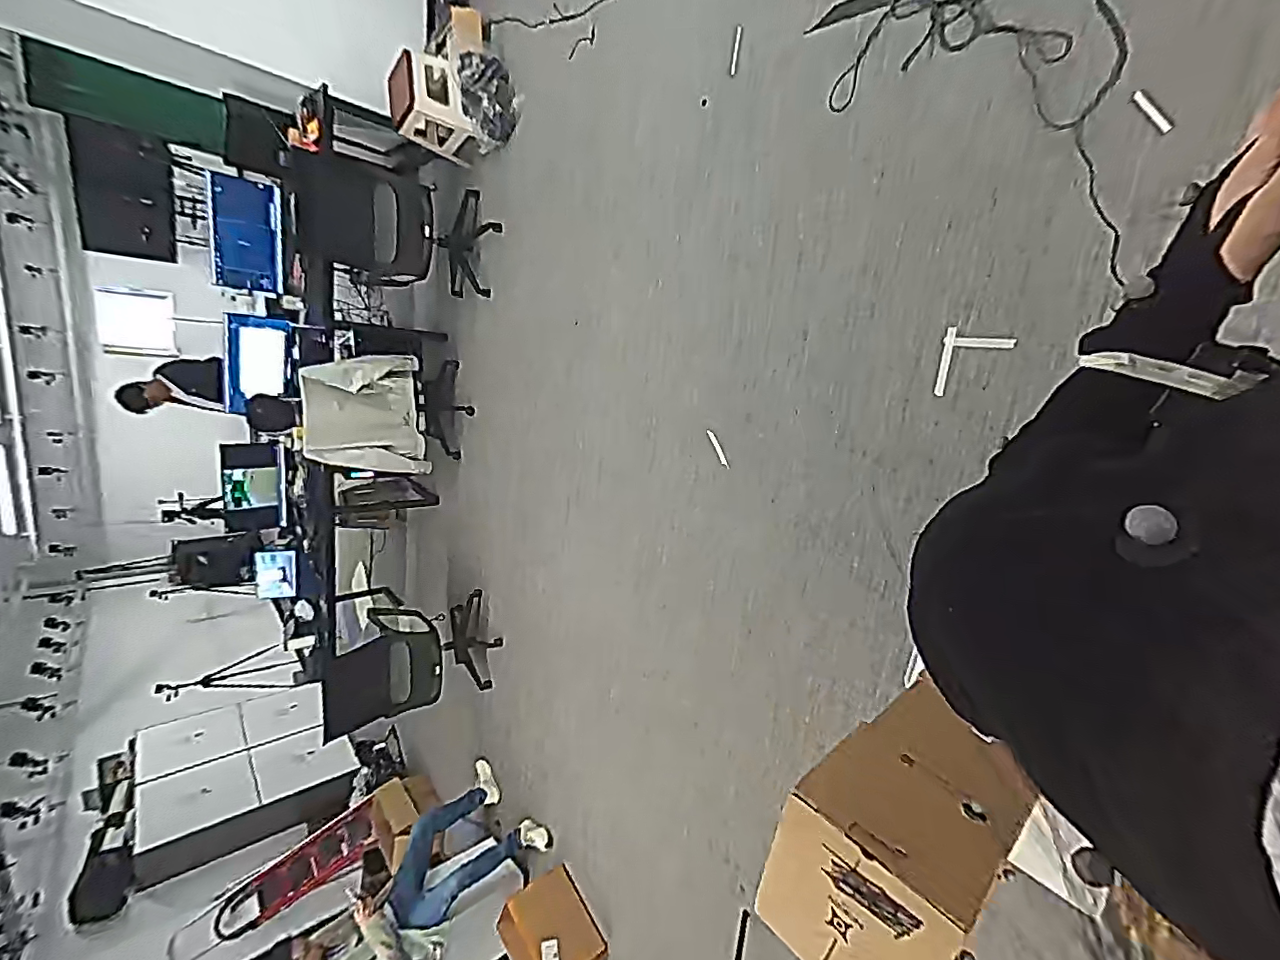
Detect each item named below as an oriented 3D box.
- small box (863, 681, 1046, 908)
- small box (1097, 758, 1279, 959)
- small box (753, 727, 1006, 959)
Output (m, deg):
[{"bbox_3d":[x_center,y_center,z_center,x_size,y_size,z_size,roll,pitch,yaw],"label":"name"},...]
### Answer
[{"bbox_3d":[0.368,0.386,0.669,0.168,0.176,0.179,24,111,42],"label":"small box"},{"bbox_3d":[0.653,0.459,0.604,0.168,0.176,0.179,20,109,45],"label":"small box"},{"bbox_3d":[0.247,0.397,0.559,0.168,0.176,0.179,26,115,42],"label":"small box"}]
